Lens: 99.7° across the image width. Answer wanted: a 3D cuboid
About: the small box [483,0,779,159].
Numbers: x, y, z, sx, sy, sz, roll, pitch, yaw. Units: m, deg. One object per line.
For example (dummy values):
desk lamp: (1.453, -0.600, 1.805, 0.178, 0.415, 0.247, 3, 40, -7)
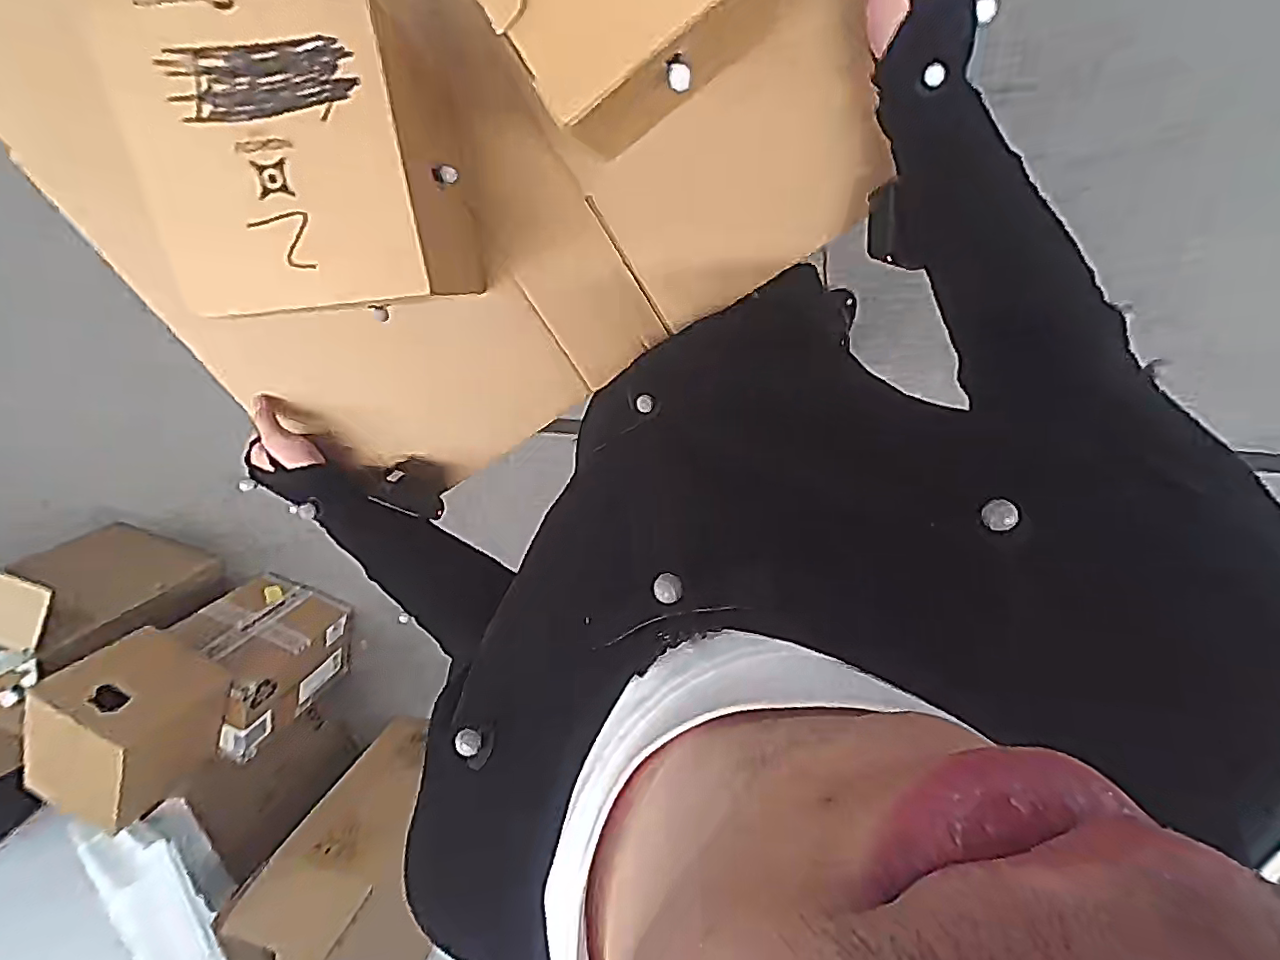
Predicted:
small box: (-0.013, -0.361, 0.378, 0.179, 0.176, 0.168, -30, 108, 18)
